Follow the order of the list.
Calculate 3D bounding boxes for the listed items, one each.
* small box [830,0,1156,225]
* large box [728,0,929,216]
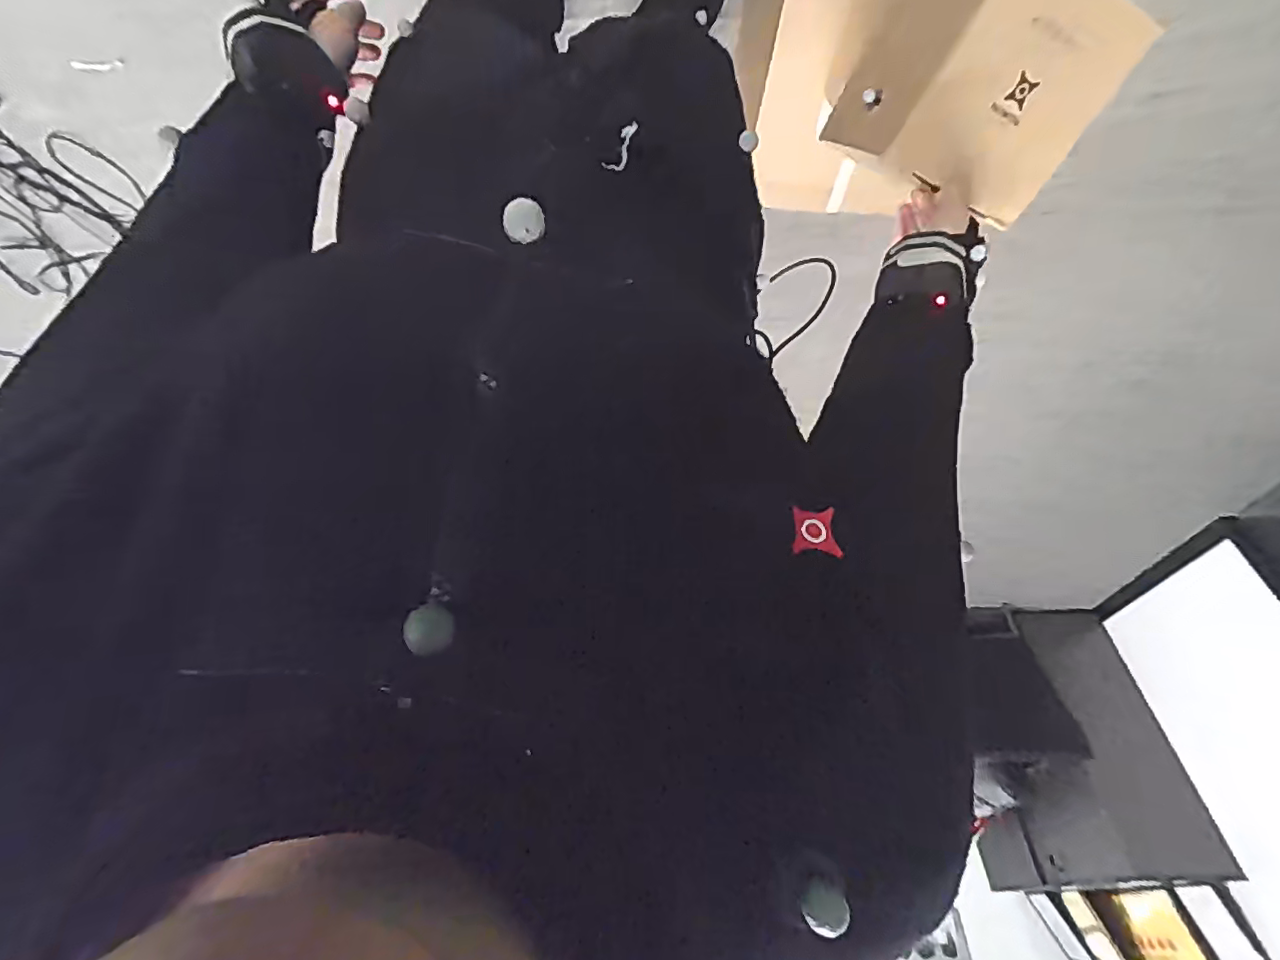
[{"bbox_3d":[0.316,-0.386,0.532,0.168,0.176,0.179,16,121,-20],"label":"small box"},{"bbox_3d":[0.335,-0.690,0.836,0.320,0.320,0.408,4,142,-2],"label":"large box"}]
